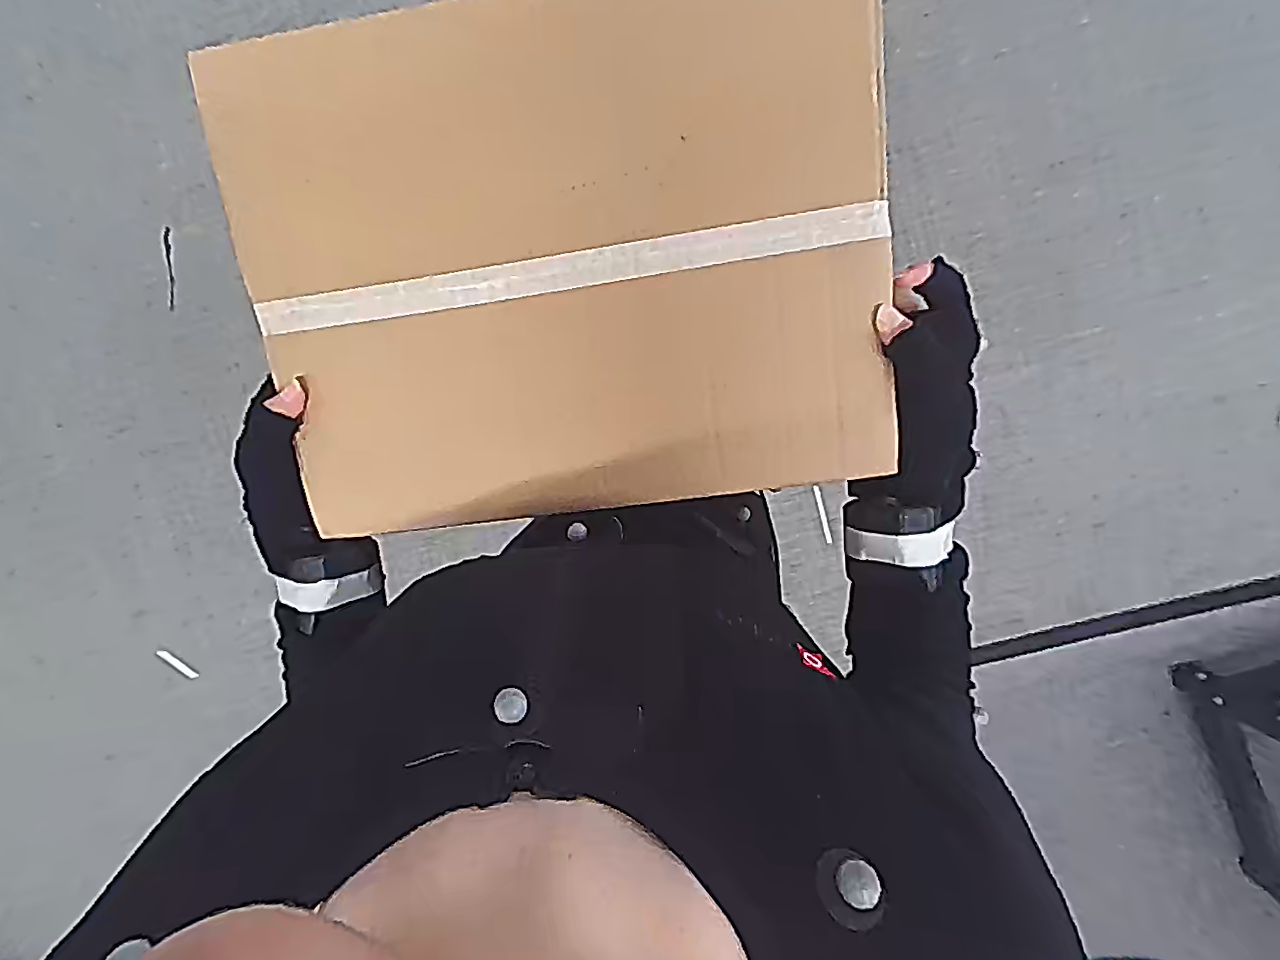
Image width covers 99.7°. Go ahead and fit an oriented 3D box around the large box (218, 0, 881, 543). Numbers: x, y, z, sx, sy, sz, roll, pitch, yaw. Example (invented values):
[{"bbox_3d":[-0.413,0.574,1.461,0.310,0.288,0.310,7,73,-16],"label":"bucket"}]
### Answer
[{"bbox_3d":[-0.041,-0.159,0.499,0.408,0.320,0.320,-7,102,6],"label":"large box"}]
